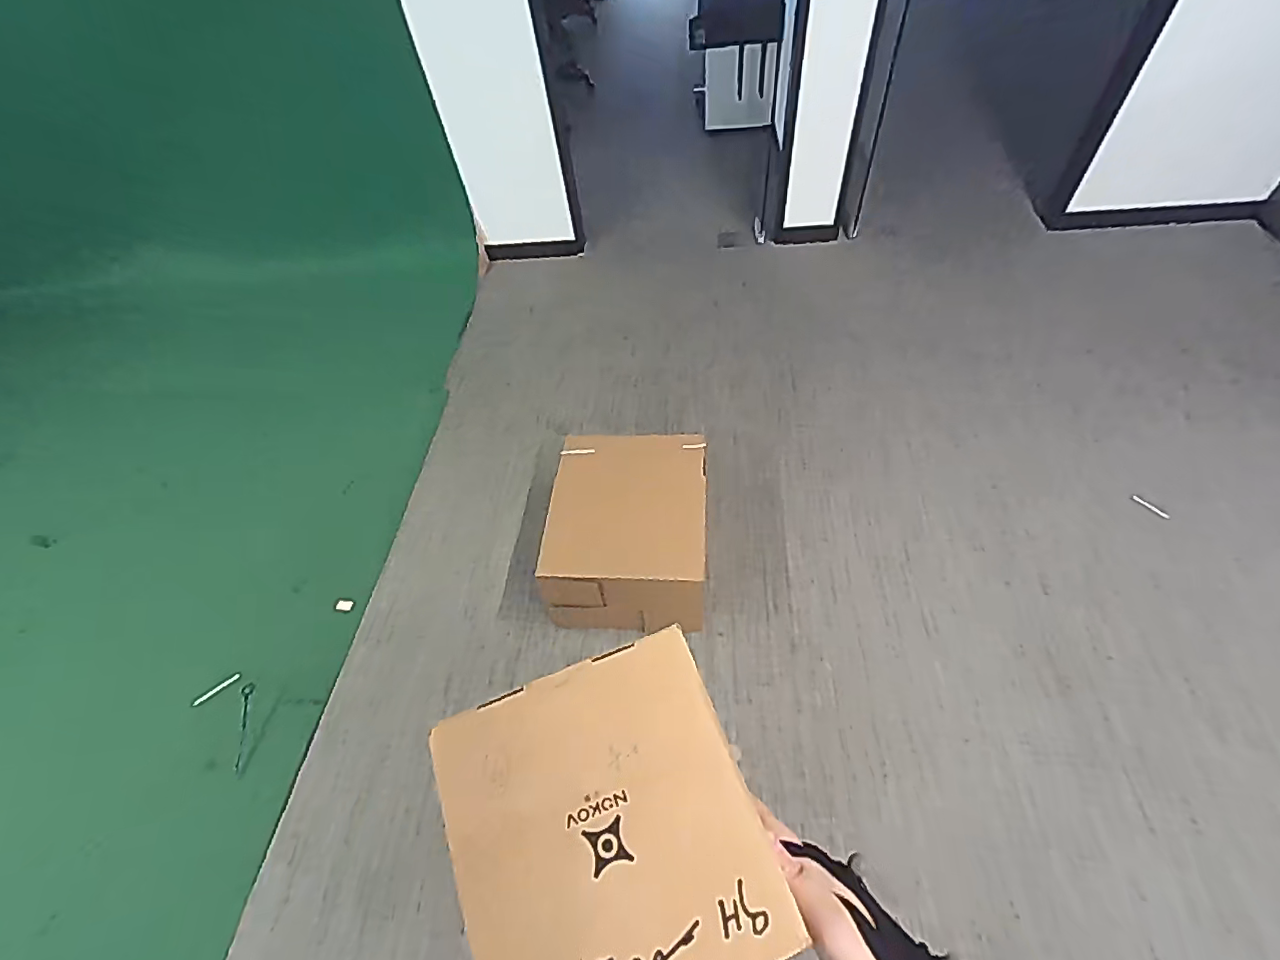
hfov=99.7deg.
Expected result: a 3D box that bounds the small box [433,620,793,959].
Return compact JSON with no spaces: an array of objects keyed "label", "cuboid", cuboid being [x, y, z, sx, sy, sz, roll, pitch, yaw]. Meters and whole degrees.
[{"label":"small box","cuboid":[-0.021,0.225,0.379,0.168,0.176,0.179,-20,64,-7]}]
